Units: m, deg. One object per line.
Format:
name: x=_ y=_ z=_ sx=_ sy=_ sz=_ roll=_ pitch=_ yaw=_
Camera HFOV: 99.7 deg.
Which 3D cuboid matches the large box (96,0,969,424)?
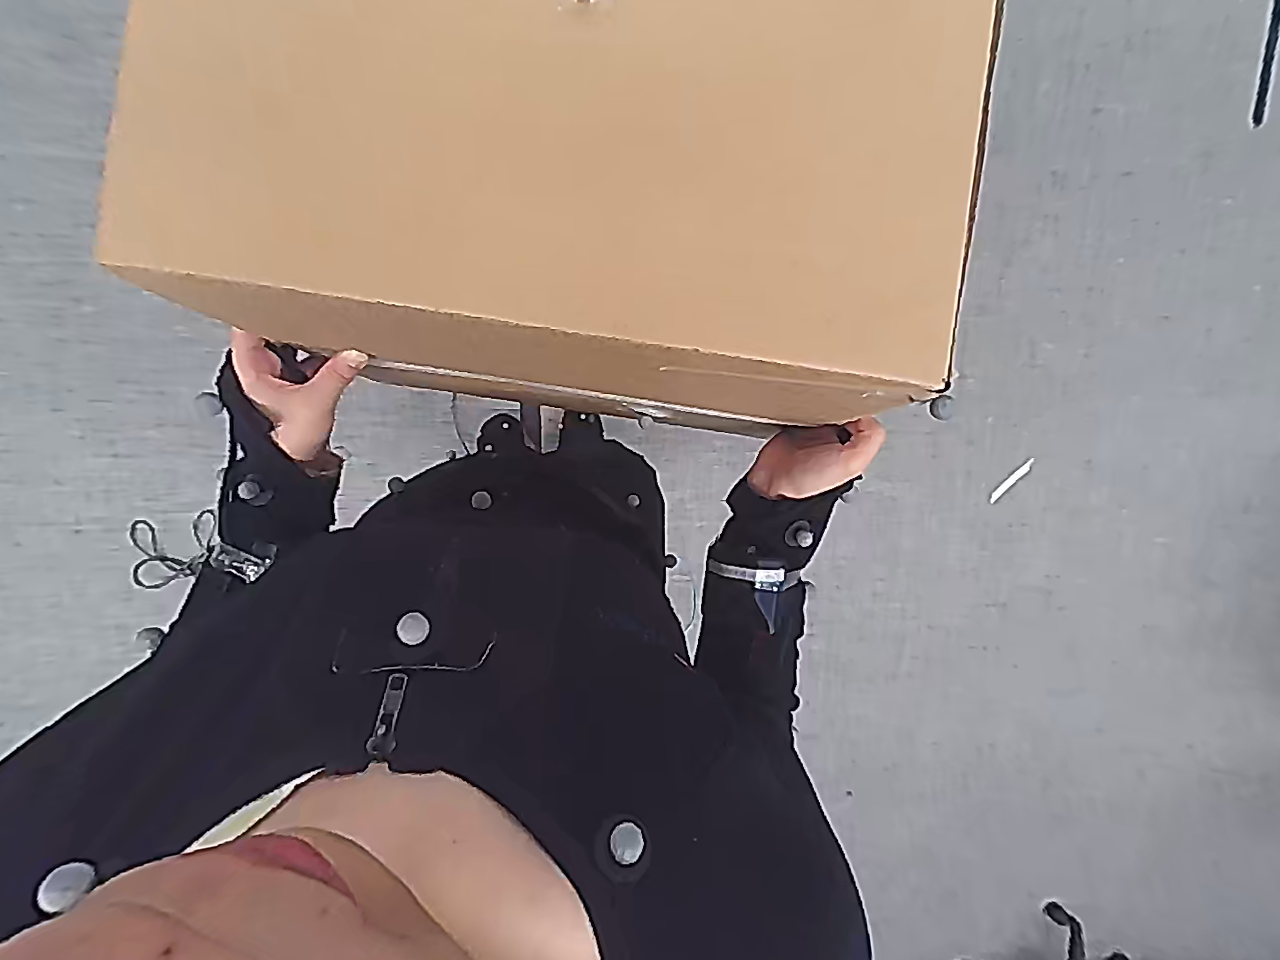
large box: x=-0.046 y=-0.230 z=0.401 sx=0.408 sy=0.320 sz=0.320 roll=7 pitch=92 yaw=-2
